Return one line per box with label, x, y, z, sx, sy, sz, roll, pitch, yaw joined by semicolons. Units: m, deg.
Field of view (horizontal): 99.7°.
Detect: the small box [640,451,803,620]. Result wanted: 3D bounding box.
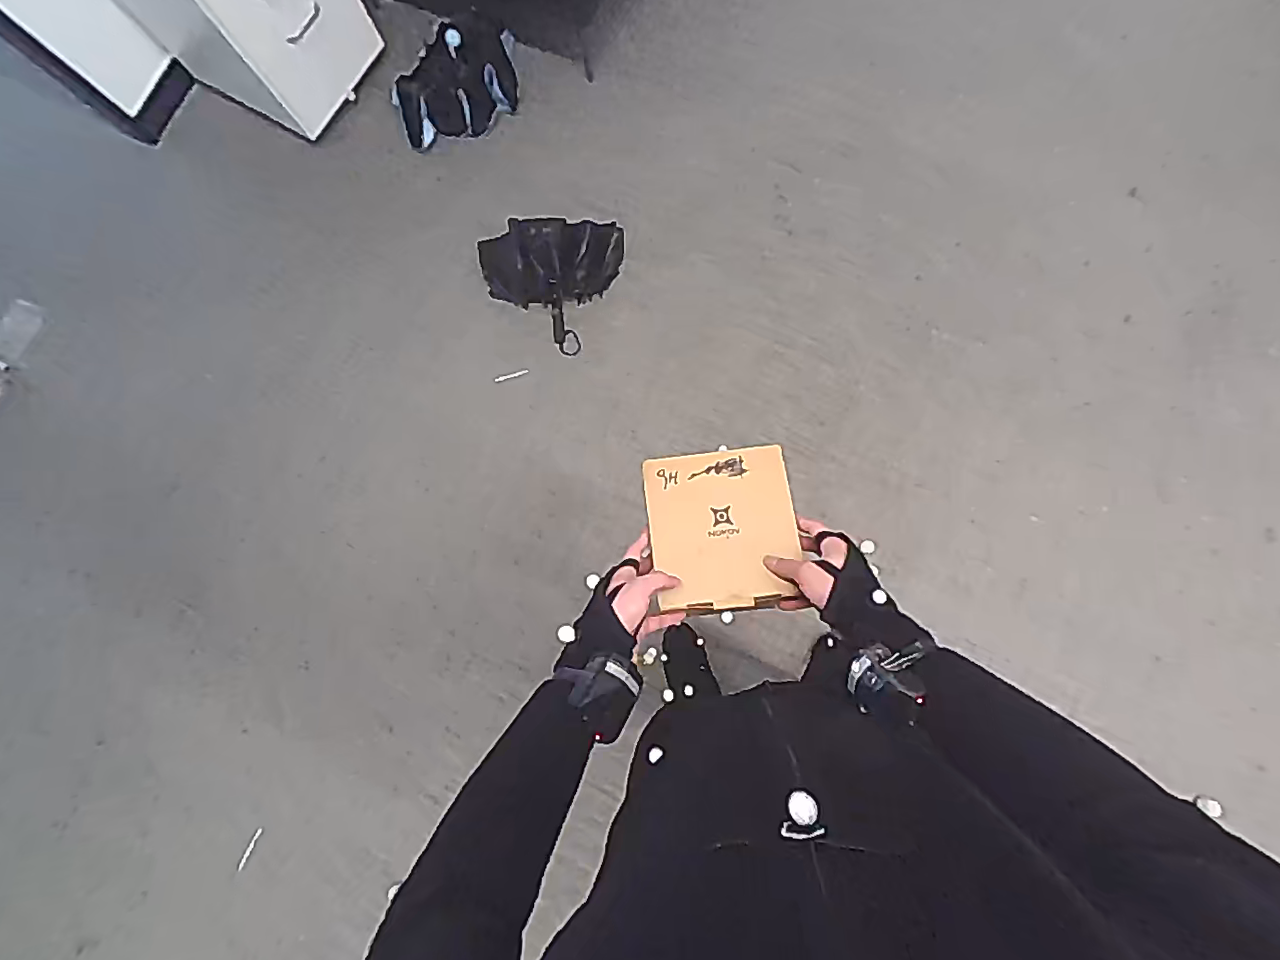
small box;0.095;0.080;0.681;0.168;0.176;0.179;-7;71;3
